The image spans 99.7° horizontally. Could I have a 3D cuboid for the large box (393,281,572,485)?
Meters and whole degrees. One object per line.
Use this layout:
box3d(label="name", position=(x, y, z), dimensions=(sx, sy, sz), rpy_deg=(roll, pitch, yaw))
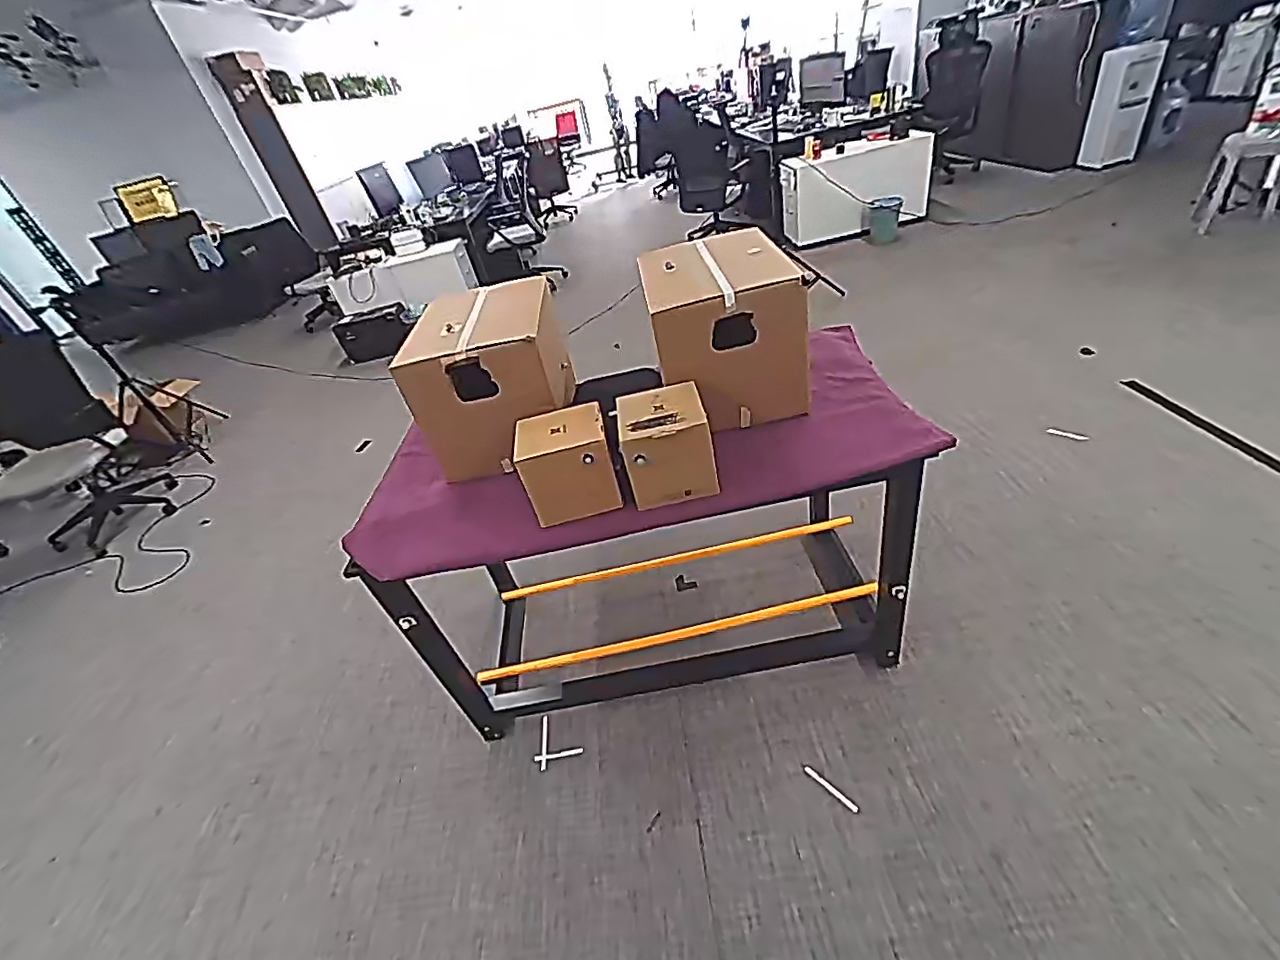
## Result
box3d(label="large box", position=(-0.354, -0.250, 1.346), dimensions=(0.320, 0.320, 0.408), rpy_deg=(-12, 39, 3))
